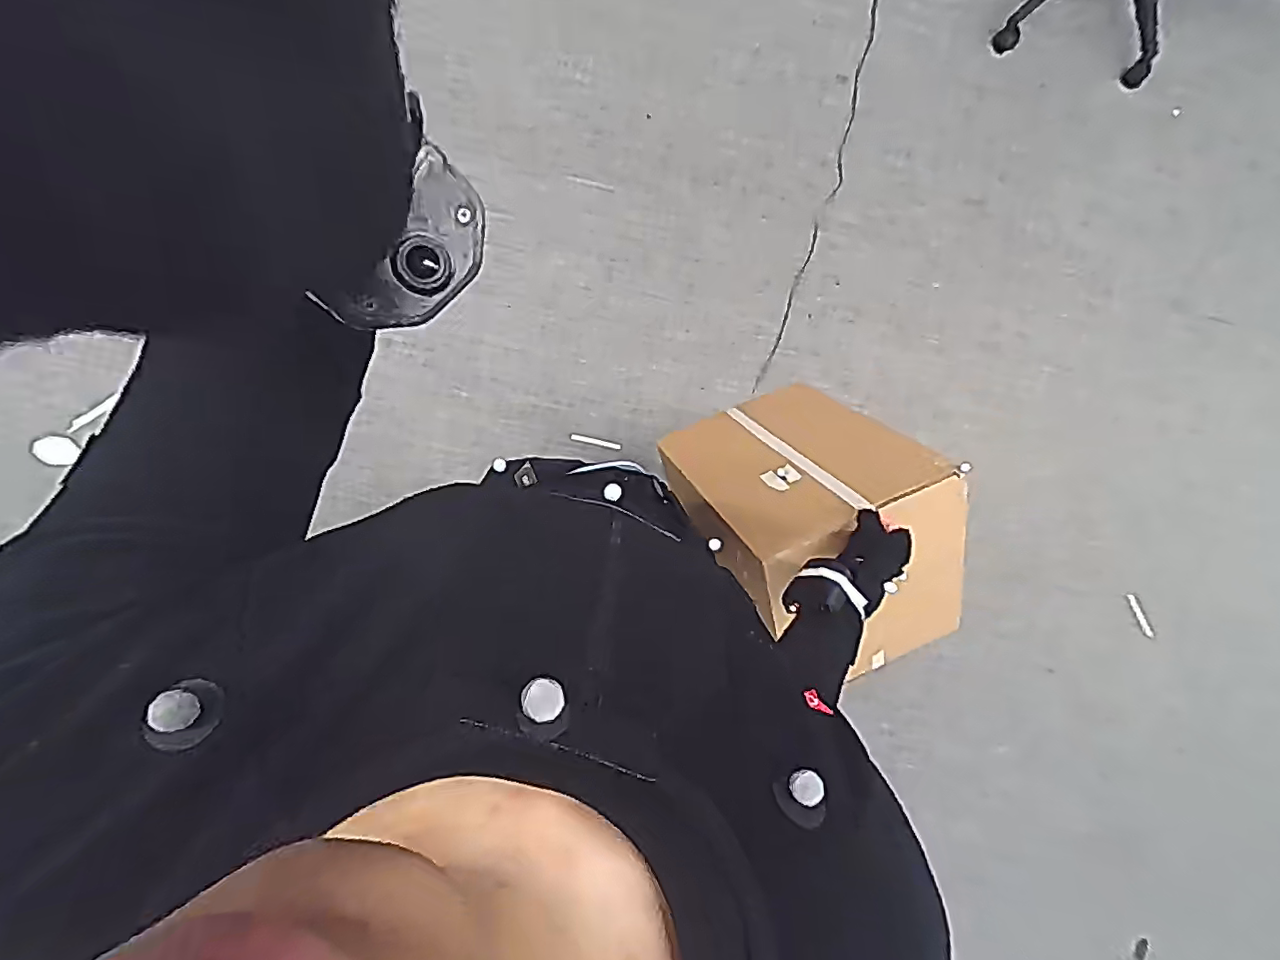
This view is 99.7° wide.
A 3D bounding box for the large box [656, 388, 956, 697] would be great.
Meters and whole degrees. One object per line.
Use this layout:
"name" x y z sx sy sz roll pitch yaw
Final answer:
"large box" 0.266 0.083 0.956 0.320 0.408 0.320 -23 123 -7
